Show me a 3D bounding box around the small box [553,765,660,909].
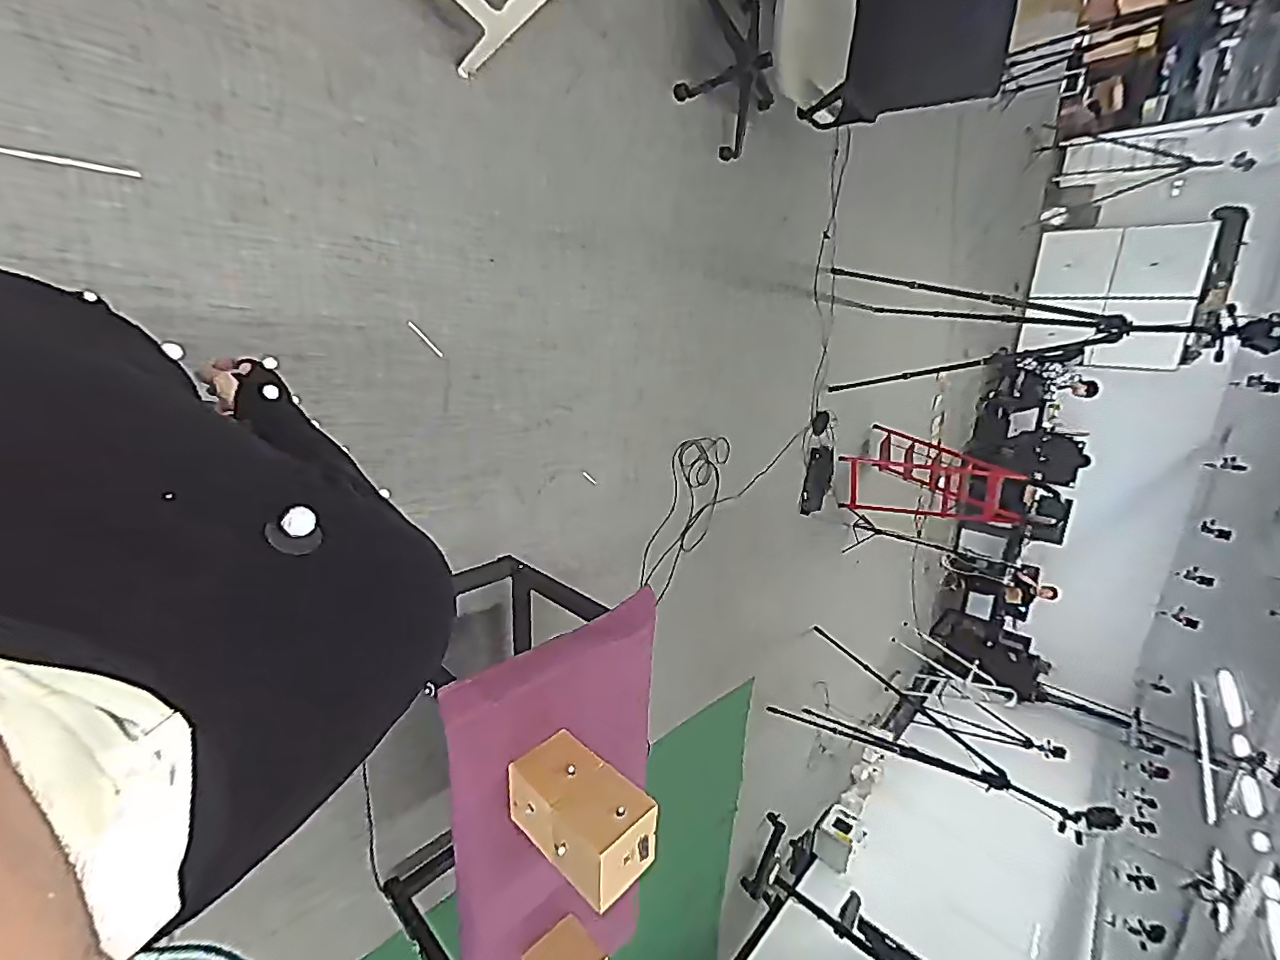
[{"bbox_3d":[-0.077,0.791,1.223,0.179,0.176,0.168,-14,112,-44],"label":"small box"}]

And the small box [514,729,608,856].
[{"bbox_3d":[-0.198,0.757,1.329,0.179,0.176,0.168,-16,113,-45],"label":"small box"}]
